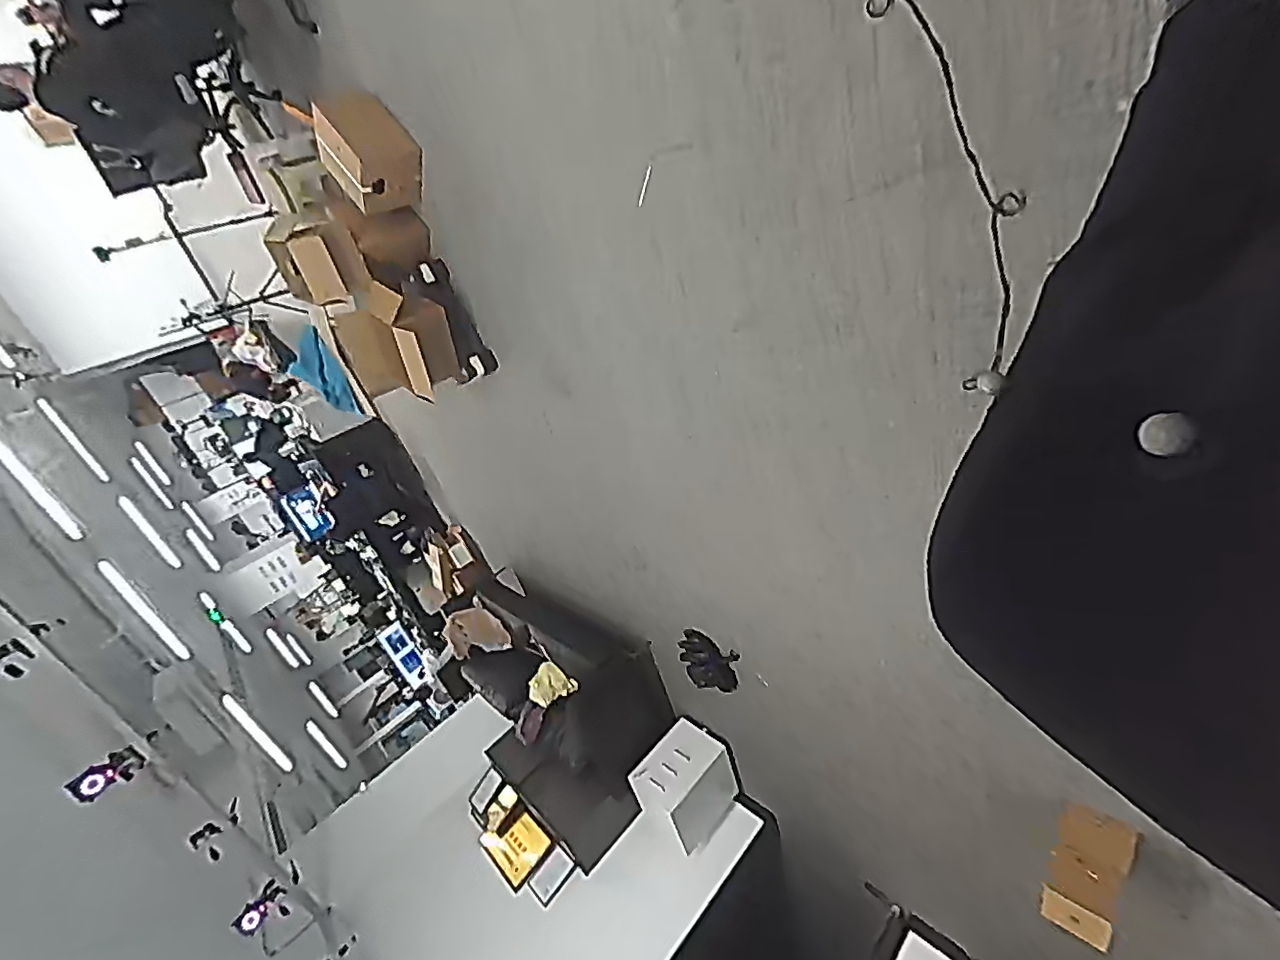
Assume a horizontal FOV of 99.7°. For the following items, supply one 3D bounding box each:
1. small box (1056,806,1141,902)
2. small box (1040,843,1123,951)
[{"bbox_3d":[1.492,1.210,1.768,0.179,0.176,0.168,17,133,46],"label":"small box"},{"bbox_3d":[1.377,1.293,1.686,0.168,0.176,0.179,13,129,46],"label":"small box"}]
